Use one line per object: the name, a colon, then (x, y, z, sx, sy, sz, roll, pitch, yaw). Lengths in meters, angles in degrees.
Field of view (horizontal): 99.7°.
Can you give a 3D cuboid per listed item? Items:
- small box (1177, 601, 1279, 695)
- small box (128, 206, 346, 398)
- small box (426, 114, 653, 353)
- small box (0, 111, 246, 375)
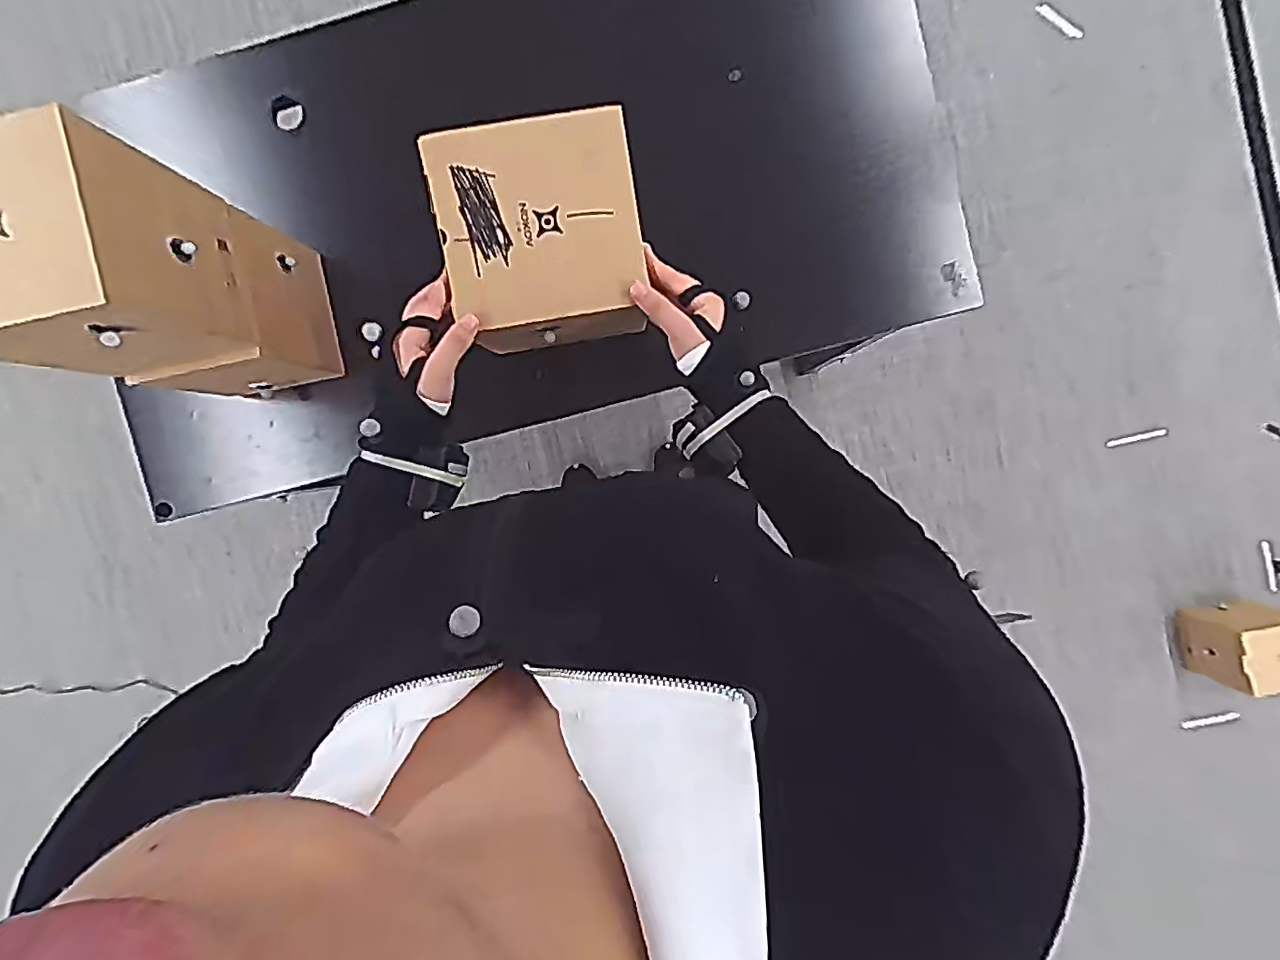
small box: (1.532, 0.423, 1.381, 0.179, 0.176, 0.168, -12, 93, 4)
small box: (-0.511, -0.210, 0.687, 0.168, 0.176, 0.179, -11, 94, 3)
small box: (-0.087, -0.228, 0.545, 0.179, 0.176, 0.168, -9, 98, -2)
small box: (-0.524, -0.207, 0.522, 0.179, 0.176, 0.168, -11, 92, 3)
